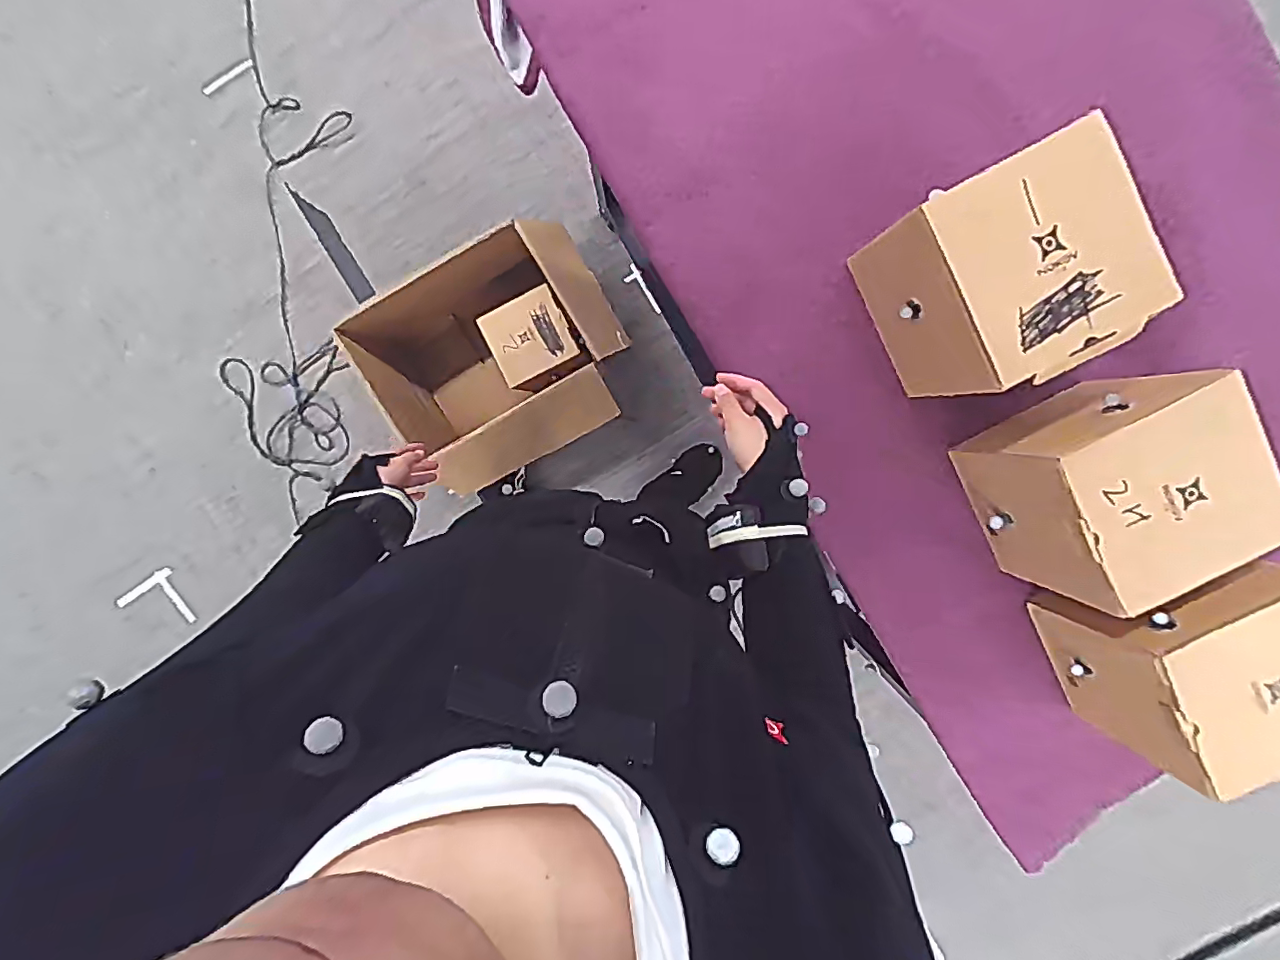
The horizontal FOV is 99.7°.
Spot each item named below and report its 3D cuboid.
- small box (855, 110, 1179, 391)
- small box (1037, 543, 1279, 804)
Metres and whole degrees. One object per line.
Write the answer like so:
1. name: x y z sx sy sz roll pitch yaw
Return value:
1. small box: 0.345 -0.200 0.531 0.168 0.176 0.179 -27 95 4
2. small box: 0.583 0.185 0.573 0.179 0.176 0.168 -27 95 3
